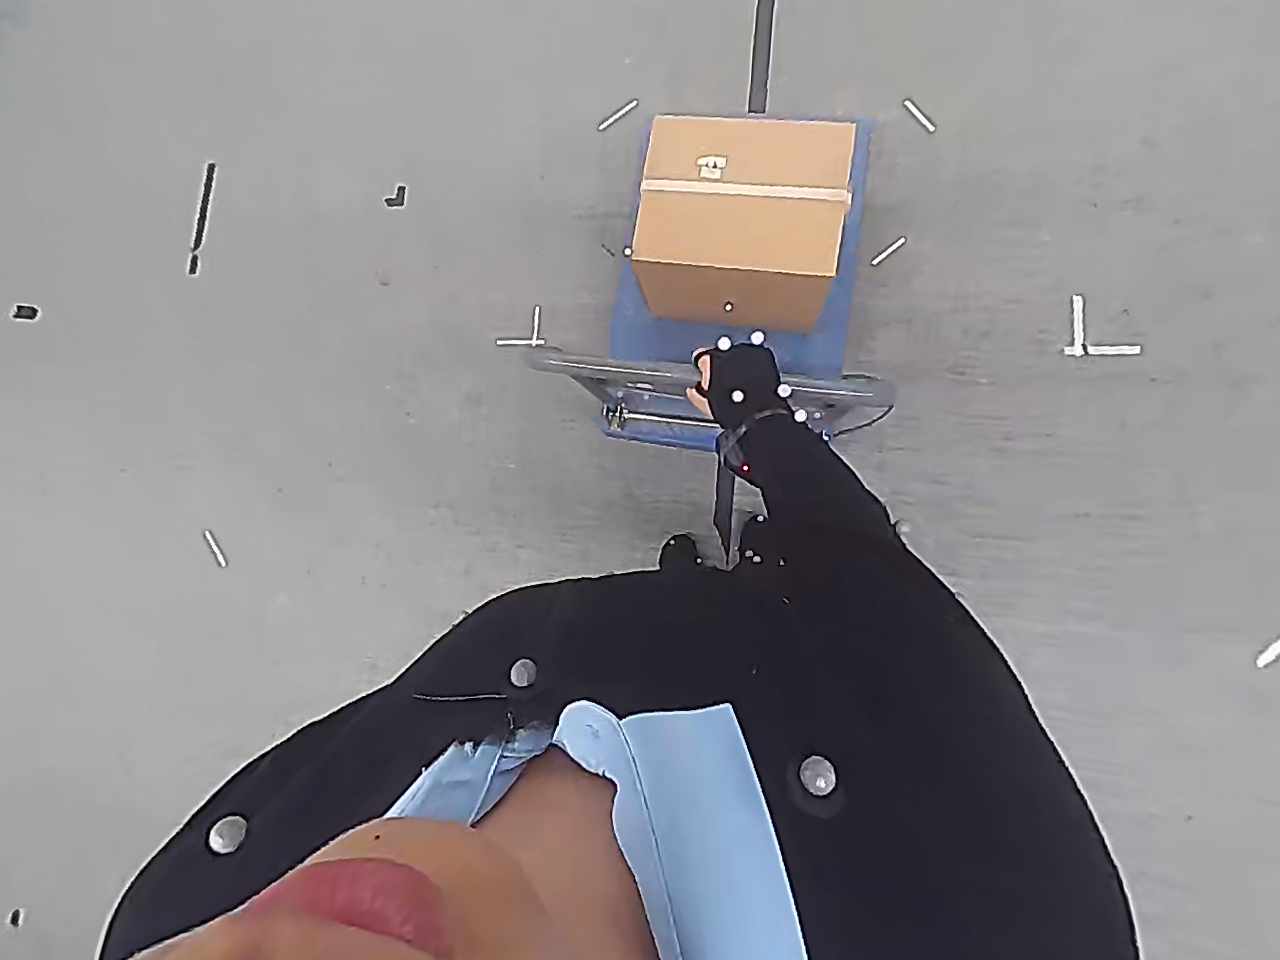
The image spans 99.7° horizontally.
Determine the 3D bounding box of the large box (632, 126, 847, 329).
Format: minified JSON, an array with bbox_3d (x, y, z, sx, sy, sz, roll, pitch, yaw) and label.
[{"bbox_3d":[0.224,-0.554,1.233,0.408,0.320,0.320,8,85,11],"label":"large box"}]
